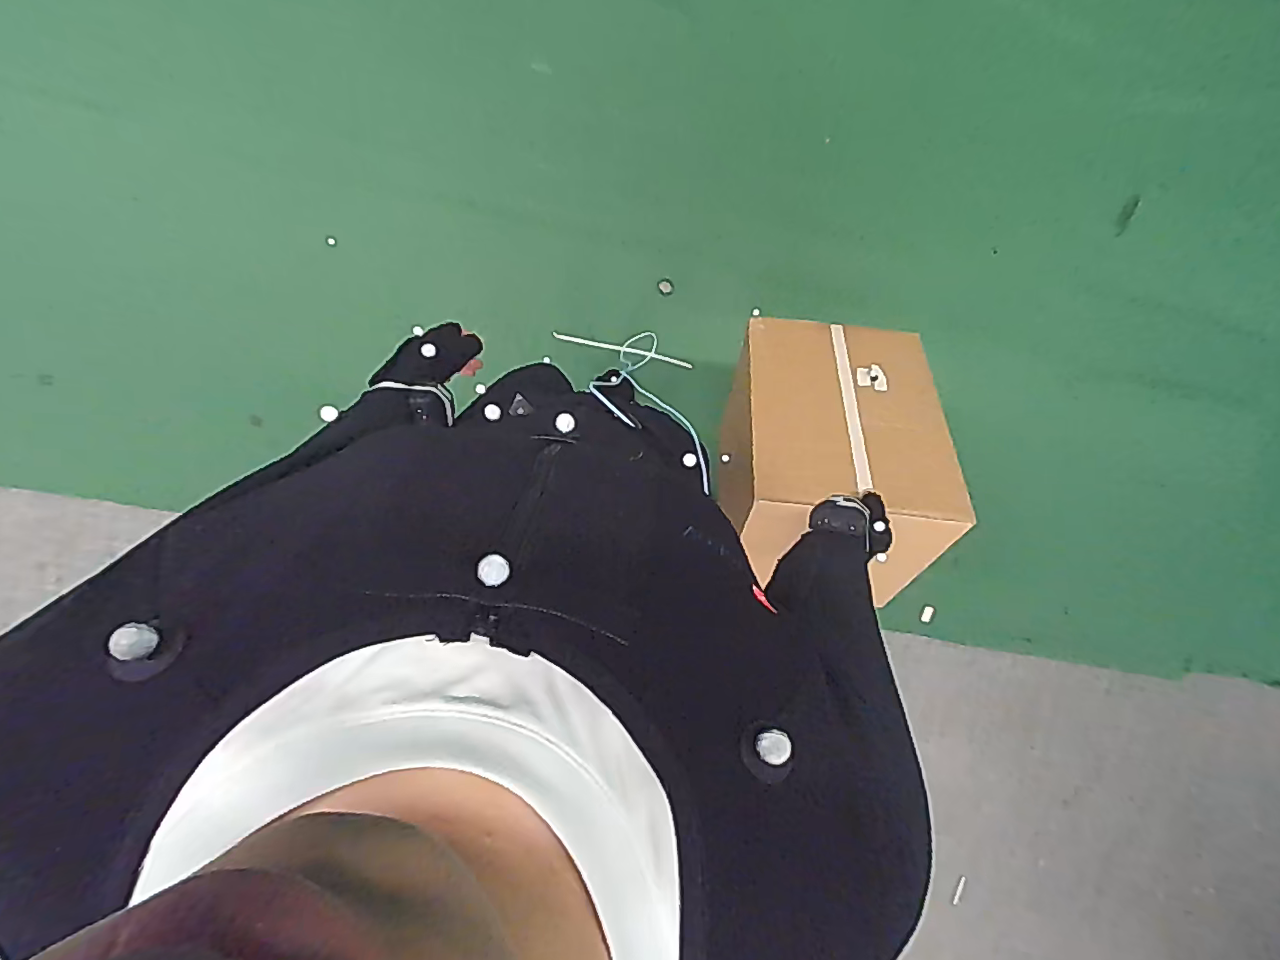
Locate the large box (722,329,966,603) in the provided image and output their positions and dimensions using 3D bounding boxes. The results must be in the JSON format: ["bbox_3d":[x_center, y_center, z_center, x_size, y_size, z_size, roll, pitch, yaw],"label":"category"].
[{"bbox_3d":[0.329,-0.022,1.011,0.320,0.408,0.320,7,144,0],"label":"large box"}]
